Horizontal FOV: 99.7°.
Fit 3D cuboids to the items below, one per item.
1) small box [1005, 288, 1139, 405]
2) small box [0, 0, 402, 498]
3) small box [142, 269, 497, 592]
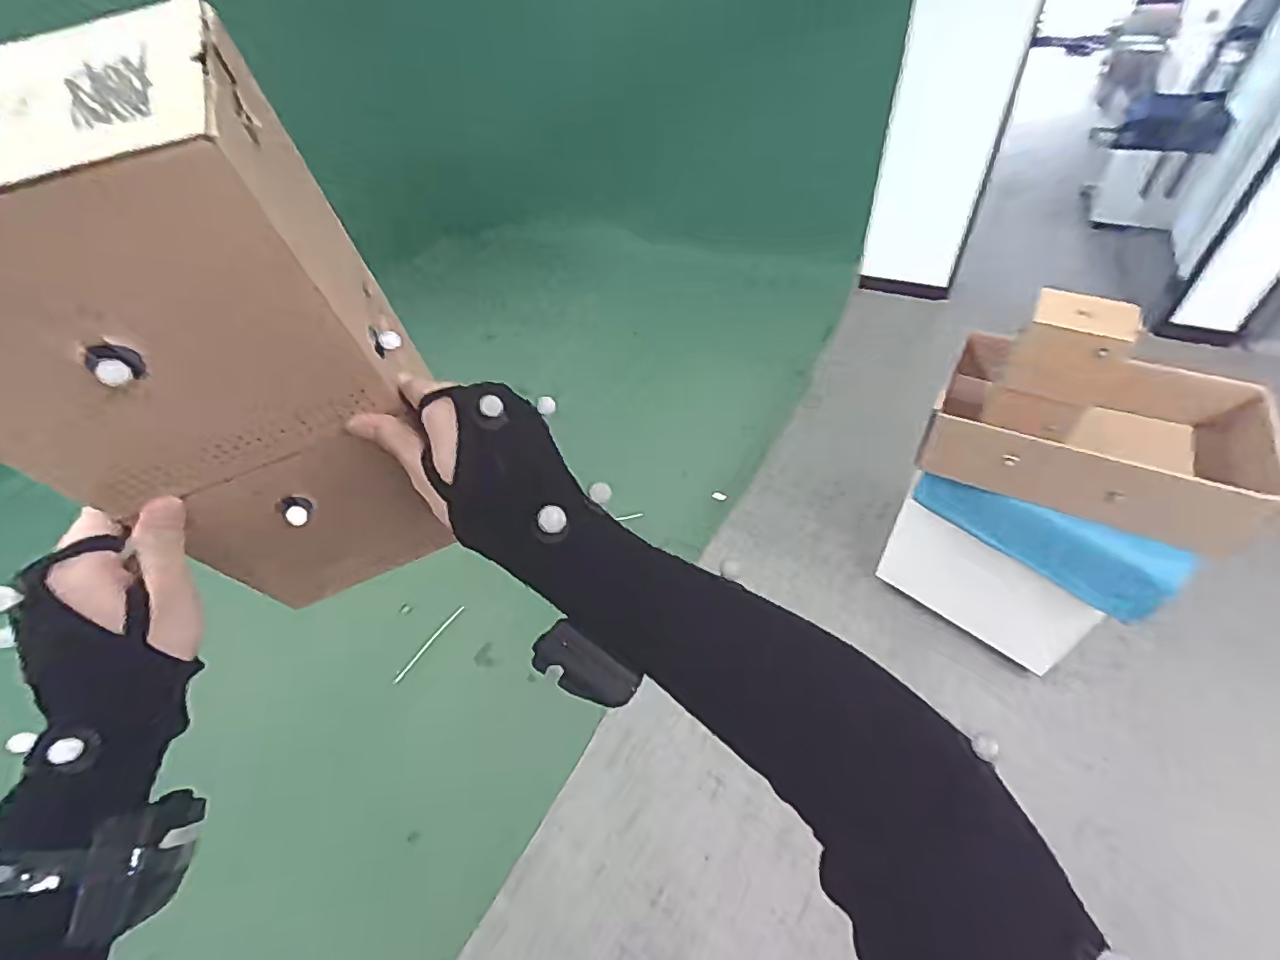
[{"bbox_3d":[0.920,-0.286,1.162,0.179,0.176,0.168,22,51,23],"label":"small box"},{"bbox_3d":[-0.256,-0.119,0.304,0.179,0.176,0.168,-23,58,-8],"label":"small box"},{"bbox_3d":[-0.241,-0.032,0.443,0.179,0.176,0.168,-22,59,-8],"label":"small box"}]
